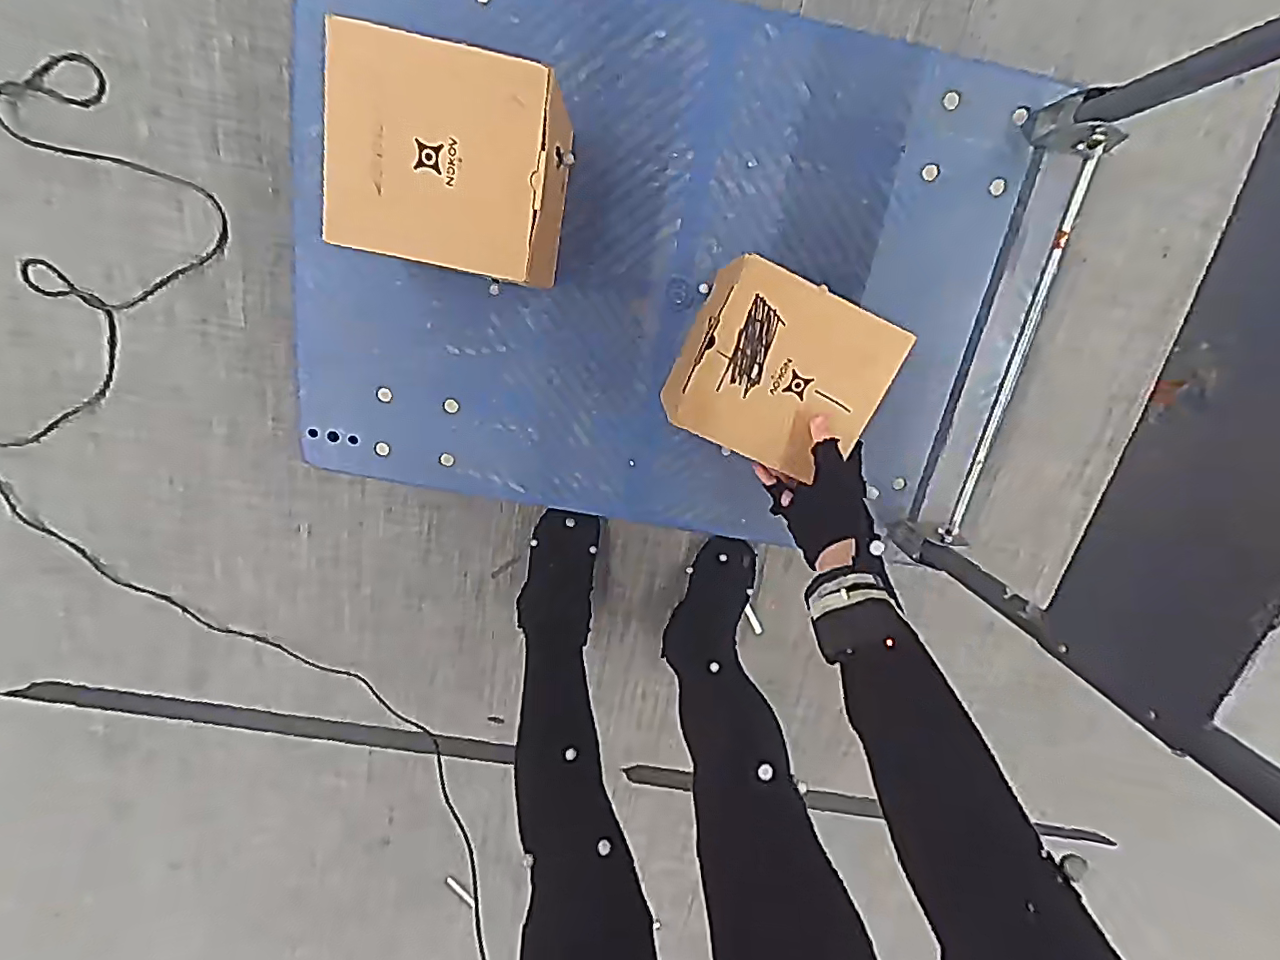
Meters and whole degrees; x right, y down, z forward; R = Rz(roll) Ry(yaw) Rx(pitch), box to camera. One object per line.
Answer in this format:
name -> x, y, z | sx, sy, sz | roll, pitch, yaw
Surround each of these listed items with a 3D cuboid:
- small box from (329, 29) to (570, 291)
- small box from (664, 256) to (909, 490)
small box -> -0.169, -0.283, 0.524 | 0.179, 0.176, 0.168 | 10, 106, -4
small box -> 0.135, -0.115, 0.580 | 0.179, 0.176, 0.168 | 24, 106, -8
